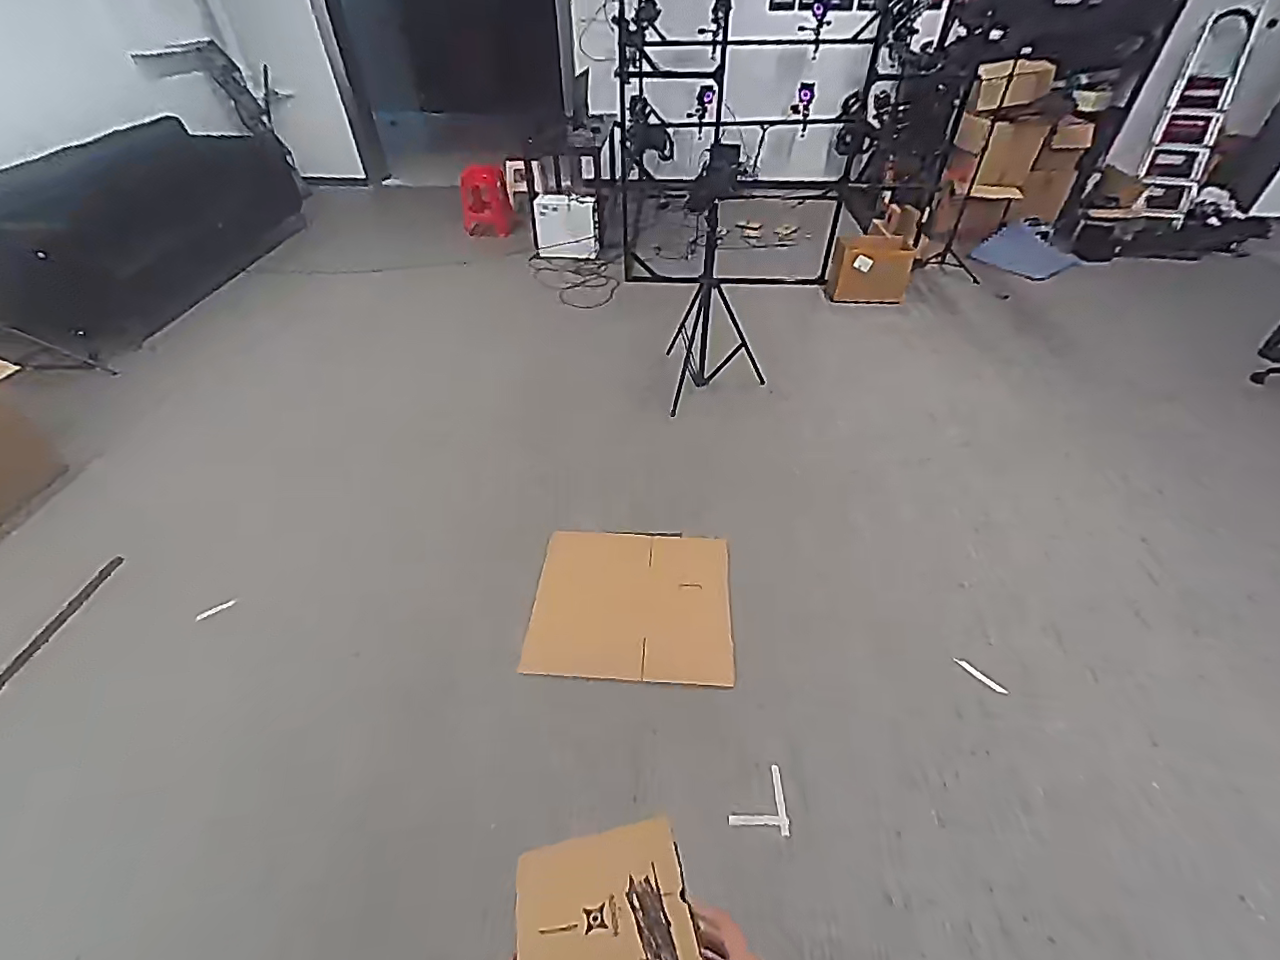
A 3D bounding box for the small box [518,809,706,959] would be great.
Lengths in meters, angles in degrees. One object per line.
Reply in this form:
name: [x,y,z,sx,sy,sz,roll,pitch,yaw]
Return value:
small box: [-0.028,0.498,0.581,0.179,0.176,0.168,-10,30,-6]
